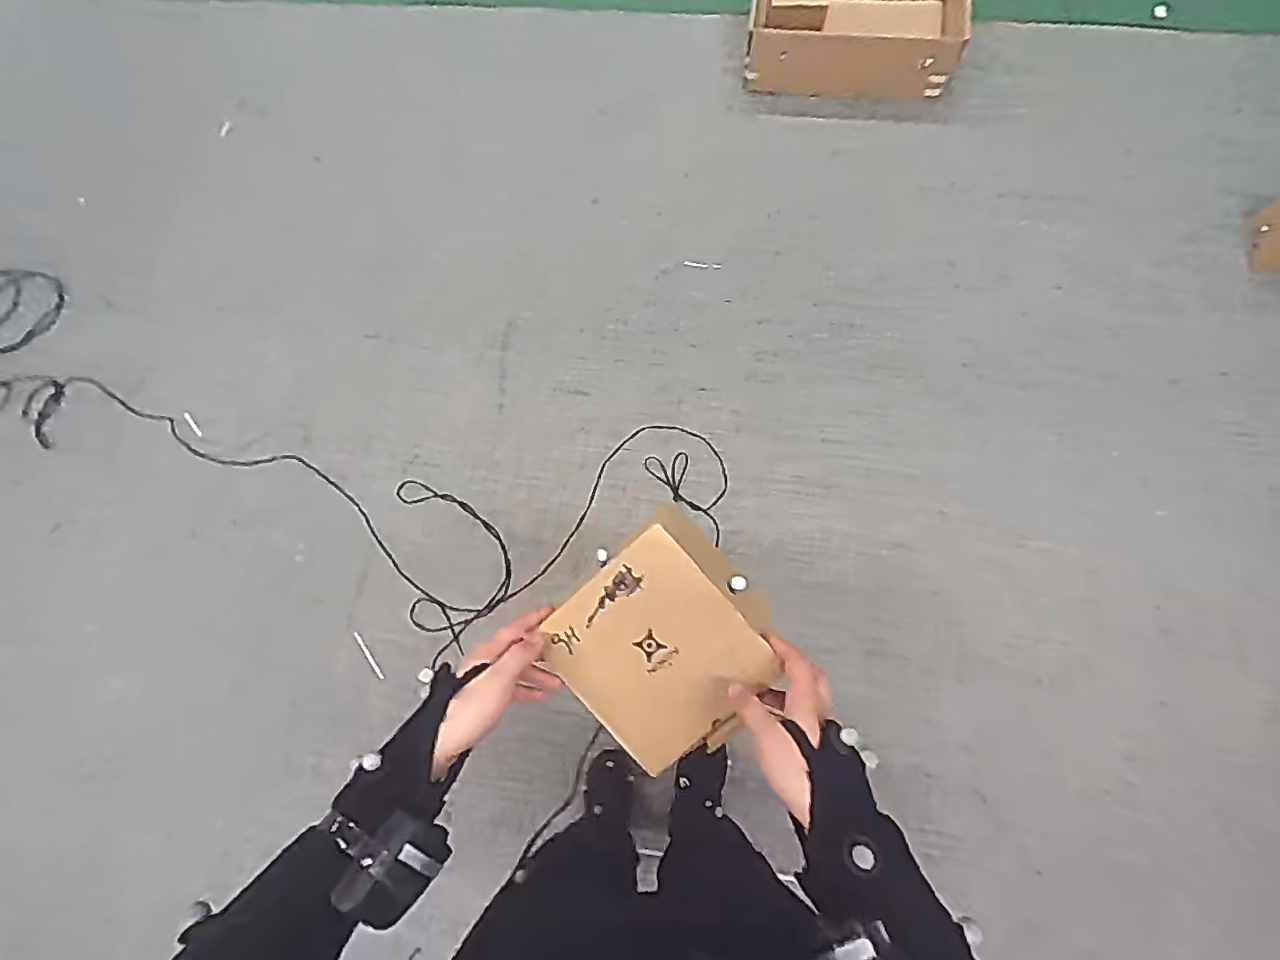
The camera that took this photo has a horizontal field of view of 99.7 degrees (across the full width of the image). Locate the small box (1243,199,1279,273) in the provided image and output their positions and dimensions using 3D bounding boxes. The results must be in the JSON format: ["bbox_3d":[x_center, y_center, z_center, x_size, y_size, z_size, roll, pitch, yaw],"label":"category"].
[{"bbox_3d":[1.743,-0.652,1.402,0.179,0.176,0.168,12,75,7],"label":"small box"}]

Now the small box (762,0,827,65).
[{"bbox_3d":[0.468,-1.418,1.648,0.168,0.176,0.179,4,76,5],"label":"small box"}]

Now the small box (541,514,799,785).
[{"bbox_3d":[0.033,0.156,0.559,0.168,0.176,0.179,-41,90,8],"label":"small box"}]
